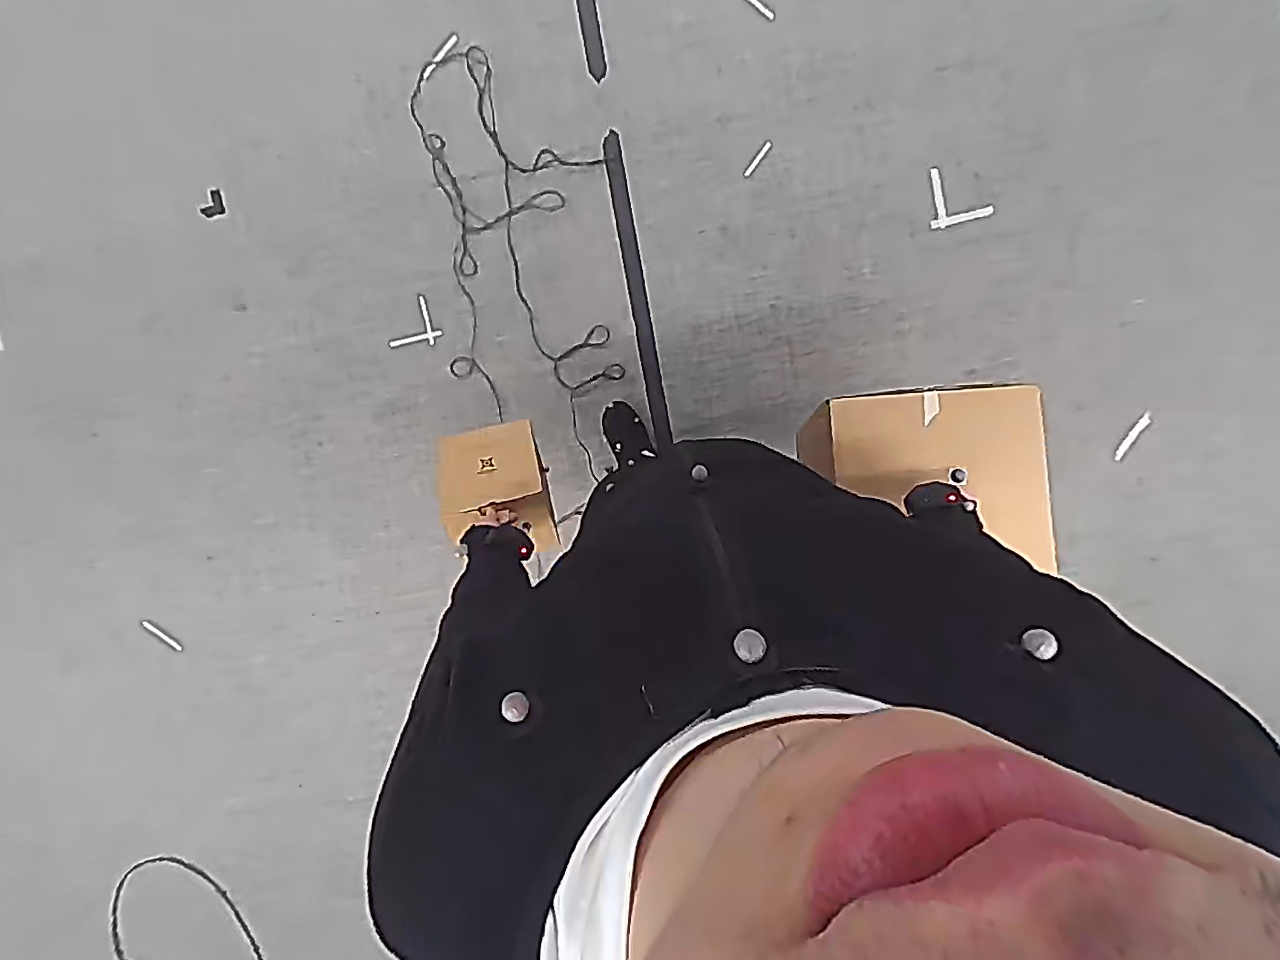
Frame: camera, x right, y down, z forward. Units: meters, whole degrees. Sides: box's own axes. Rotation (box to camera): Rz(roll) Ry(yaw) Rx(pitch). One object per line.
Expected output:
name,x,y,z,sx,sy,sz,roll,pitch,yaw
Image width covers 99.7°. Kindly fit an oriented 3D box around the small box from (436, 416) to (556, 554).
small box,-0.255,0.016,0.976,0.168,0.176,0.179,-13,55,-8
